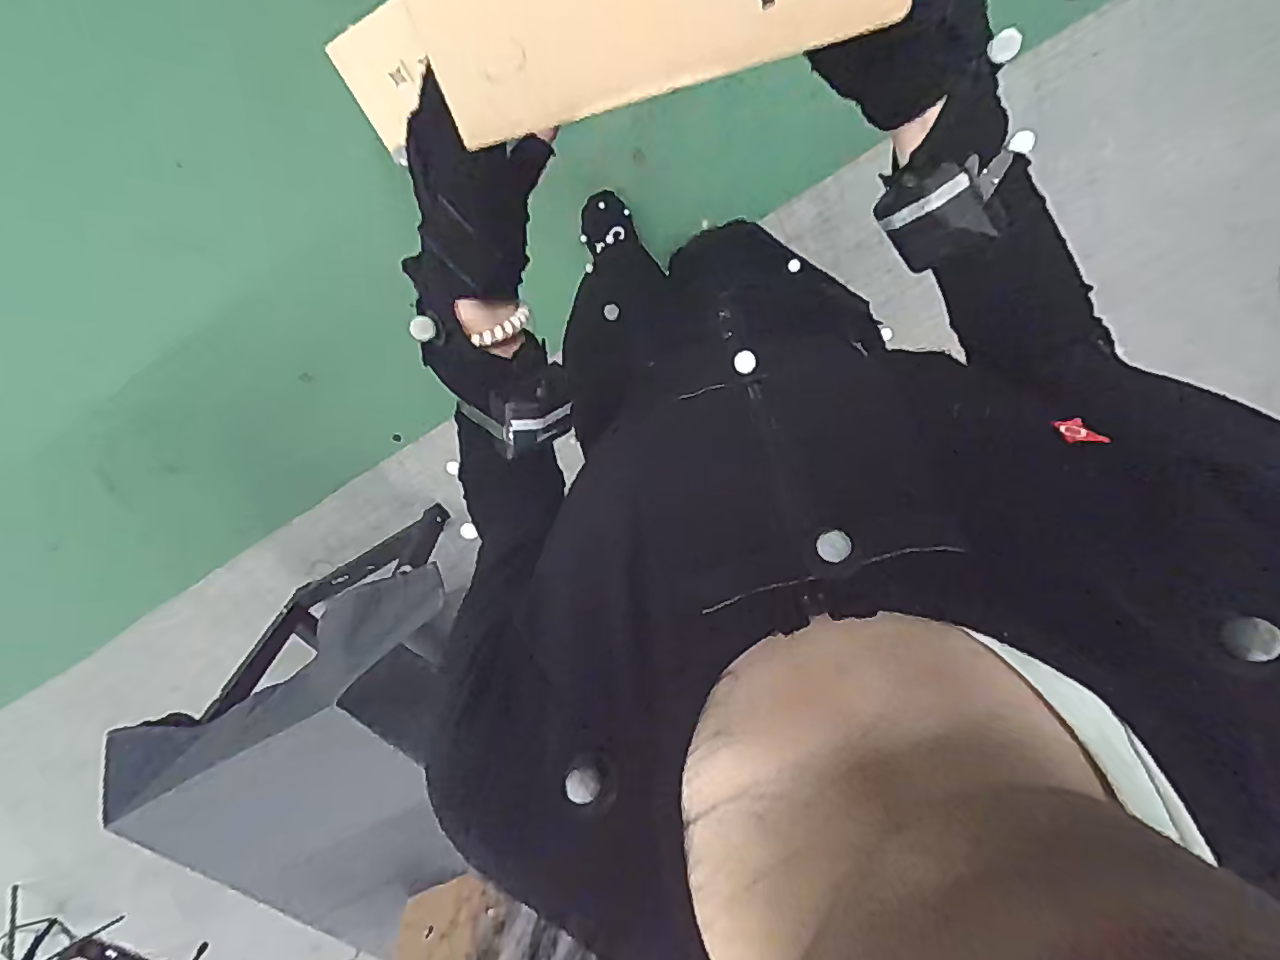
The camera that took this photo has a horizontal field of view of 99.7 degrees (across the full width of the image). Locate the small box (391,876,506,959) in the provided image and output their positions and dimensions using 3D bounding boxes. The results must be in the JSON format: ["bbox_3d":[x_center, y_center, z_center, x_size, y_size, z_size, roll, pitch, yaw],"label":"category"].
[{"bbox_3d":[-0.418,1.019,1.186,0.179,0.176,0.168,-29,117,10],"label":"small box"}]

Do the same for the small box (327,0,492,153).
[{"bbox_3d":[-0.380,-0.689,0.929,0.179,0.176,0.168,-25,117,9],"label":"small box"}]

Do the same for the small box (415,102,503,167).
[{"bbox_3d":[-0.394,-0.753,1.080,0.168,0.176,0.179,-24,116,9],"label":"small box"}]
